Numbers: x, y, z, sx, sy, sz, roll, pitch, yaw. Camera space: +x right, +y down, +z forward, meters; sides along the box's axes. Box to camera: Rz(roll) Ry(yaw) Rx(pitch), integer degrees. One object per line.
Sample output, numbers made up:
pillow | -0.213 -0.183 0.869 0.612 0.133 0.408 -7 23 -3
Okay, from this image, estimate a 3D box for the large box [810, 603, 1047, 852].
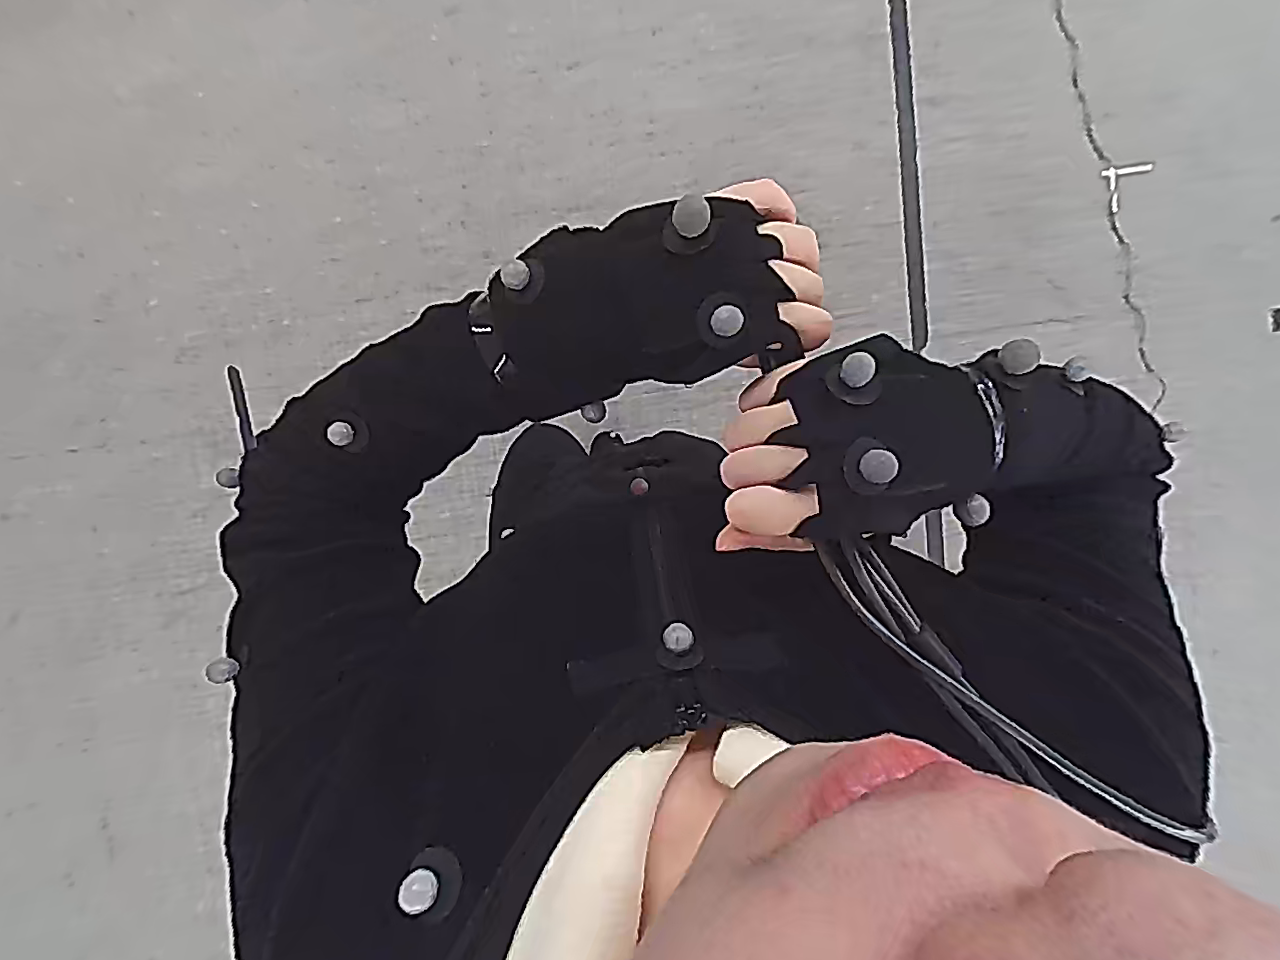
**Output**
large box | 0.637 0.545 1.255 0.320 0.320 0.408 13 94 -5
